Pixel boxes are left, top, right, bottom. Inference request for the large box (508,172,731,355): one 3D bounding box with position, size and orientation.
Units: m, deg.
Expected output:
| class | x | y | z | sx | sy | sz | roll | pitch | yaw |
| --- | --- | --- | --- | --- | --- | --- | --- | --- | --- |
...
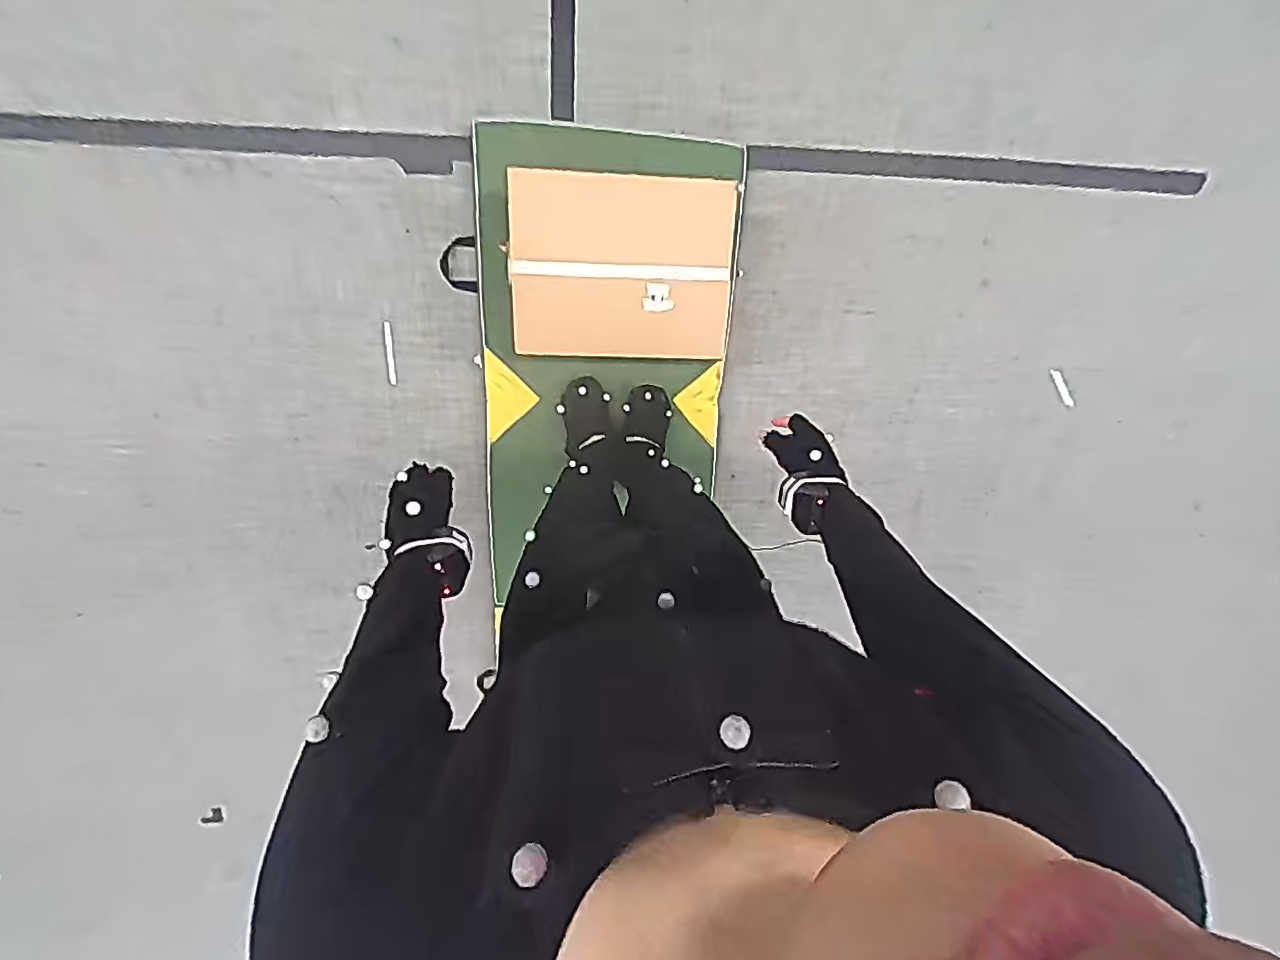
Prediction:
| class | x | y | z | sx | sy | sz | roll | pitch | yaw |
| --- | --- | --- | --- | --- | --- | --- | --- | --- | --- |
| large box | -0.052 | -0.439 | 1.144 | 0.408 | 0.320 | 0.320 | -1 | 110 | -7 |
